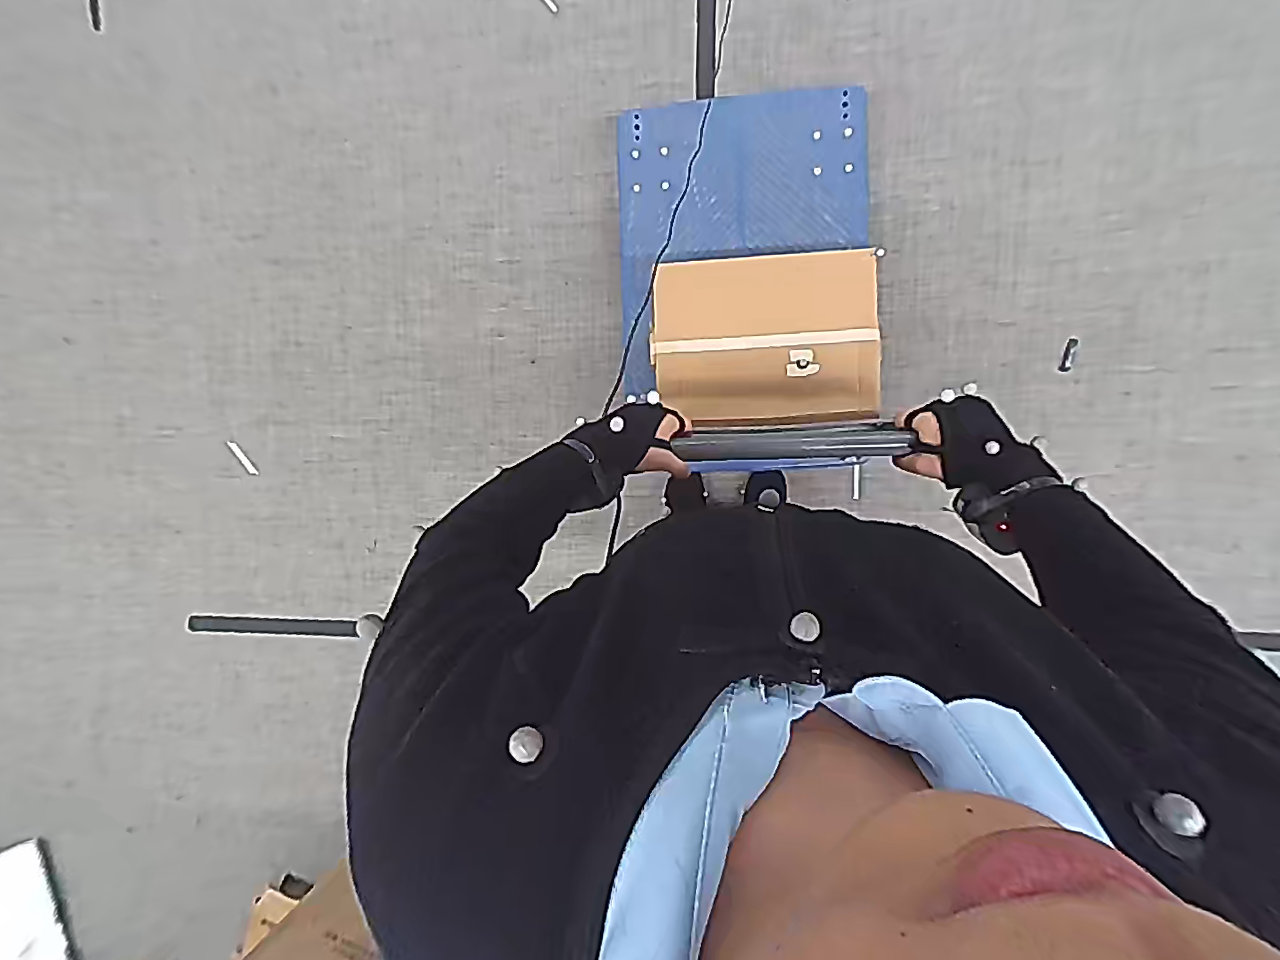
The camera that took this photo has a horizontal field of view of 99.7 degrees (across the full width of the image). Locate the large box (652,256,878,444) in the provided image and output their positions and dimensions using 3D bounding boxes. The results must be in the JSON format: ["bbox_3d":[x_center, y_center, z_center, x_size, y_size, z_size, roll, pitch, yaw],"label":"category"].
[{"bbox_3d":[0.241,-0.244,1.140,0.408,0.320,0.320,-2,92,6],"label":"large box"}]
